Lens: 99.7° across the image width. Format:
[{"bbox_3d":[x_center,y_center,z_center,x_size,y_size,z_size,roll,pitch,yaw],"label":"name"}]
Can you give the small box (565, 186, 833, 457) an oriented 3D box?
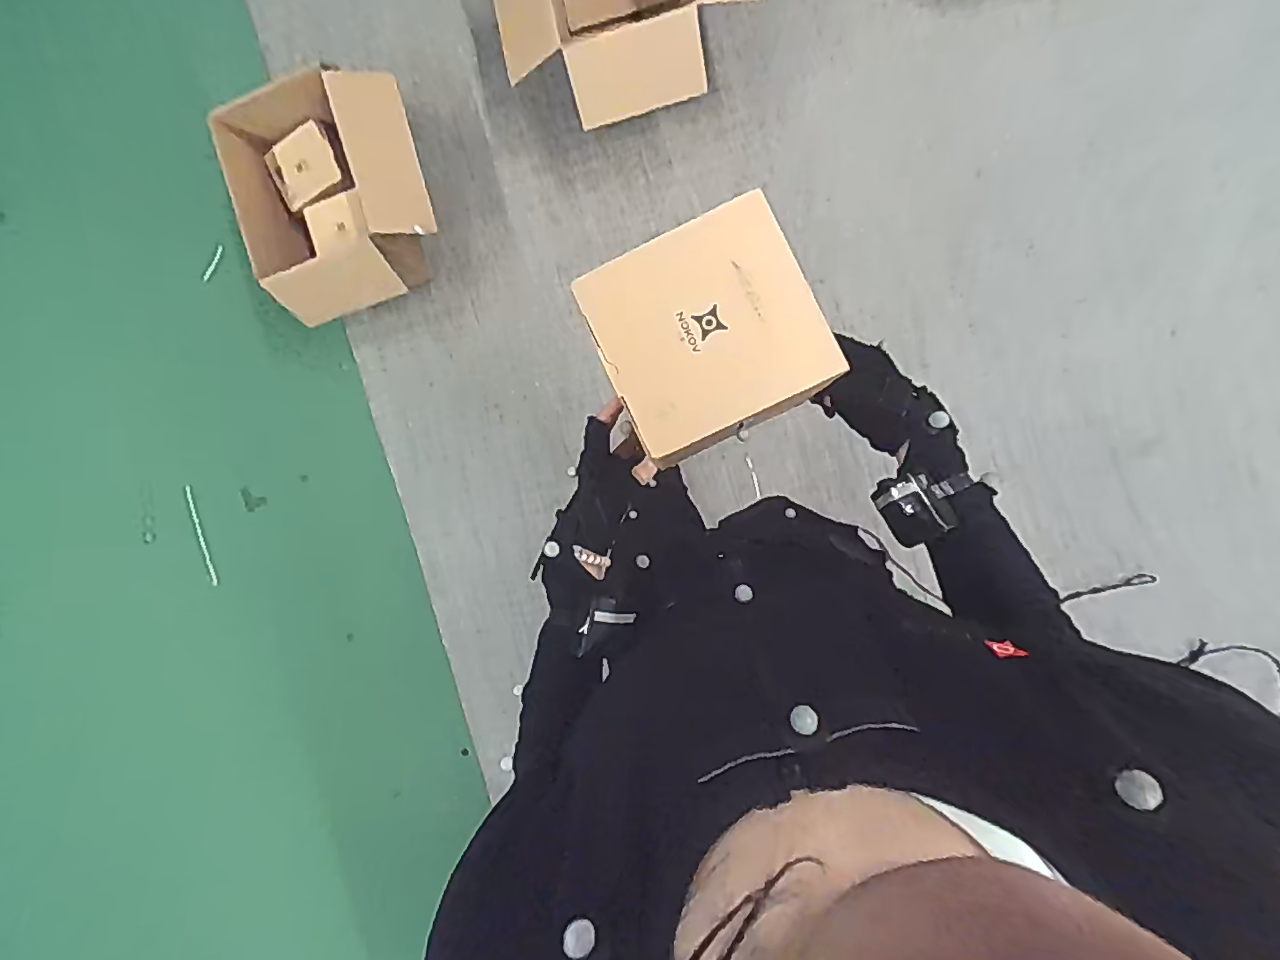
[{"bbox_3d":[0.054,-0.129,0.520,0.179,0.176,0.168,-24,88,5],"label":"small box"}]
